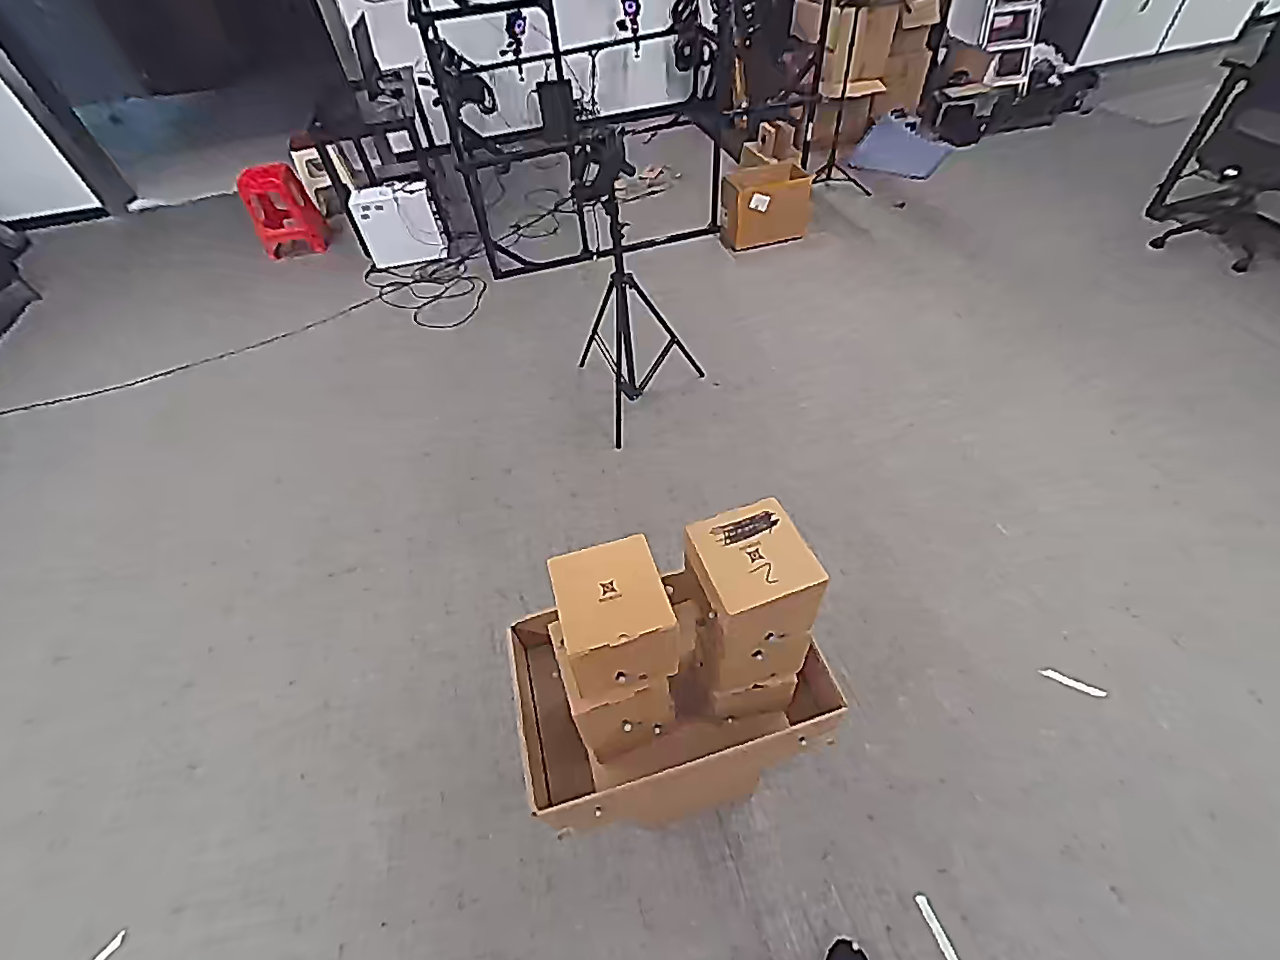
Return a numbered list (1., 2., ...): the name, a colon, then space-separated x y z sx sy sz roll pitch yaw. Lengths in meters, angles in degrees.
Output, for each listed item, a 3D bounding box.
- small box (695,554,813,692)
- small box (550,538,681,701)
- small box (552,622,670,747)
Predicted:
1. small box: 0.204 0.272 1.025 0.168 0.176 0.179 -13 48 -5
2. small box: -0.040 0.227 0.880 0.168 0.176 0.179 -15 49 -10
3. small box: -0.053 0.353 0.987 0.168 0.176 0.179 -17 50 -12
